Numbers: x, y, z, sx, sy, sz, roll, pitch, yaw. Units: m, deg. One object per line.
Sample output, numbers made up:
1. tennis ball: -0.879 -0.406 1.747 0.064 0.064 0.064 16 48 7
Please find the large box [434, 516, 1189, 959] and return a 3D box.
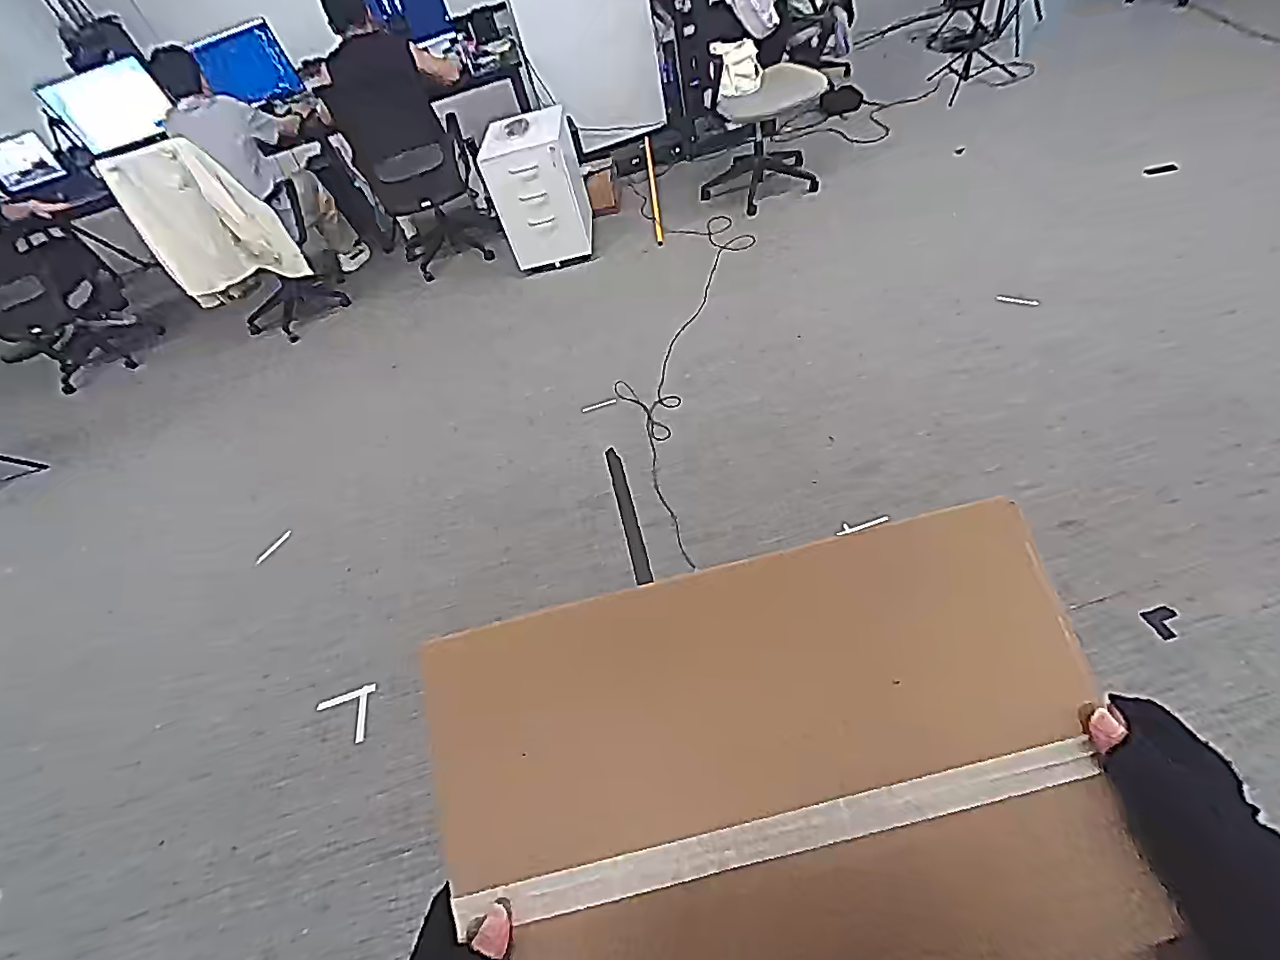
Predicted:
1. large box: 0.099 0.253 0.474 0.408 0.320 0.320 -15 75 0
